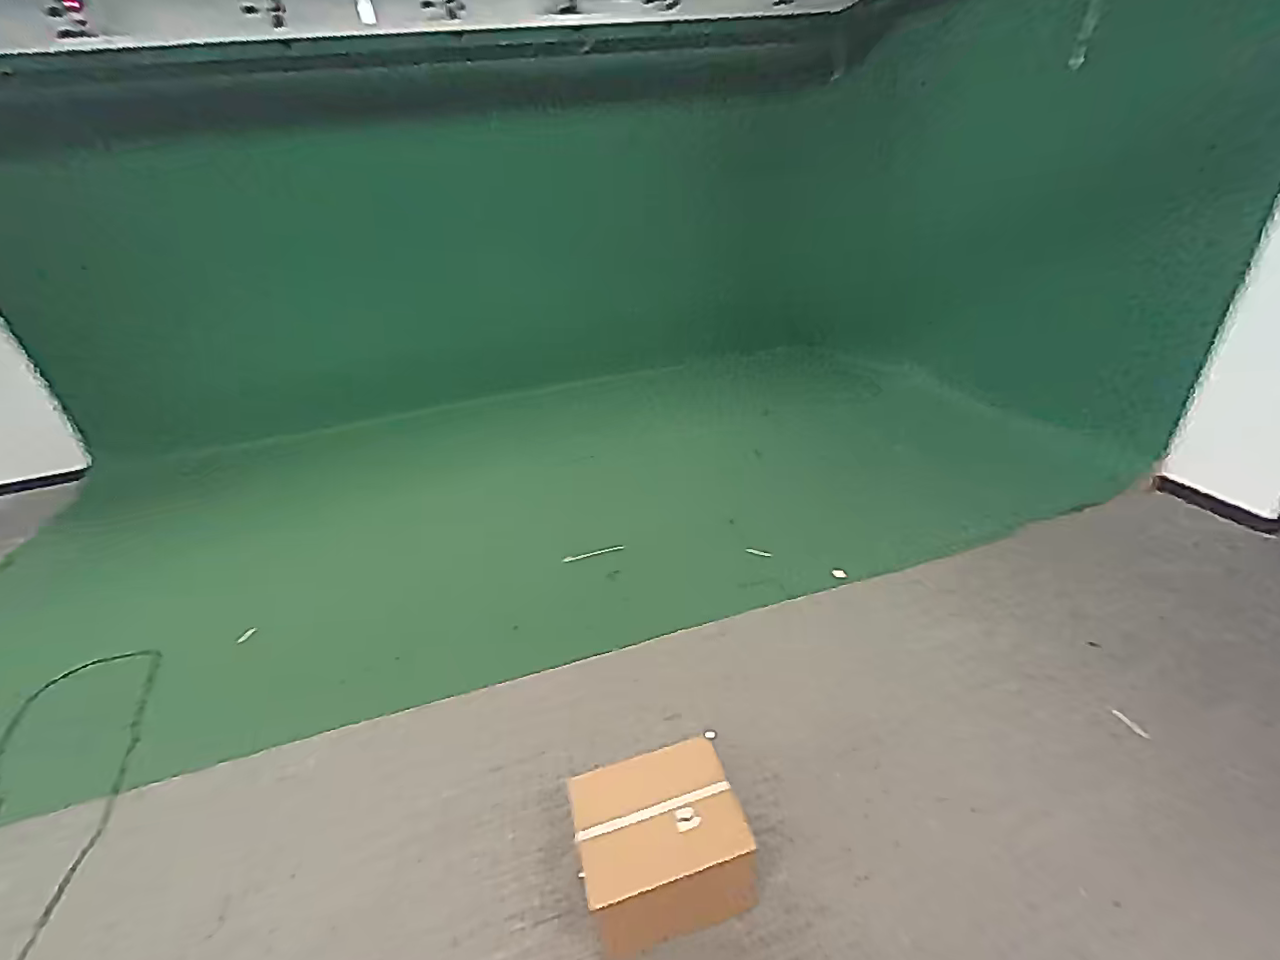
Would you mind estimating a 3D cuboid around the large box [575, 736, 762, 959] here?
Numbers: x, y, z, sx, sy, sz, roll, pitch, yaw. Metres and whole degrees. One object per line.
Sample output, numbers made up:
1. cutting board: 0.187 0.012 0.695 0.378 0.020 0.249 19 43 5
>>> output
1. large box: 0.069 0.958 1.418 0.408 0.320 0.320 -12 30 -11
